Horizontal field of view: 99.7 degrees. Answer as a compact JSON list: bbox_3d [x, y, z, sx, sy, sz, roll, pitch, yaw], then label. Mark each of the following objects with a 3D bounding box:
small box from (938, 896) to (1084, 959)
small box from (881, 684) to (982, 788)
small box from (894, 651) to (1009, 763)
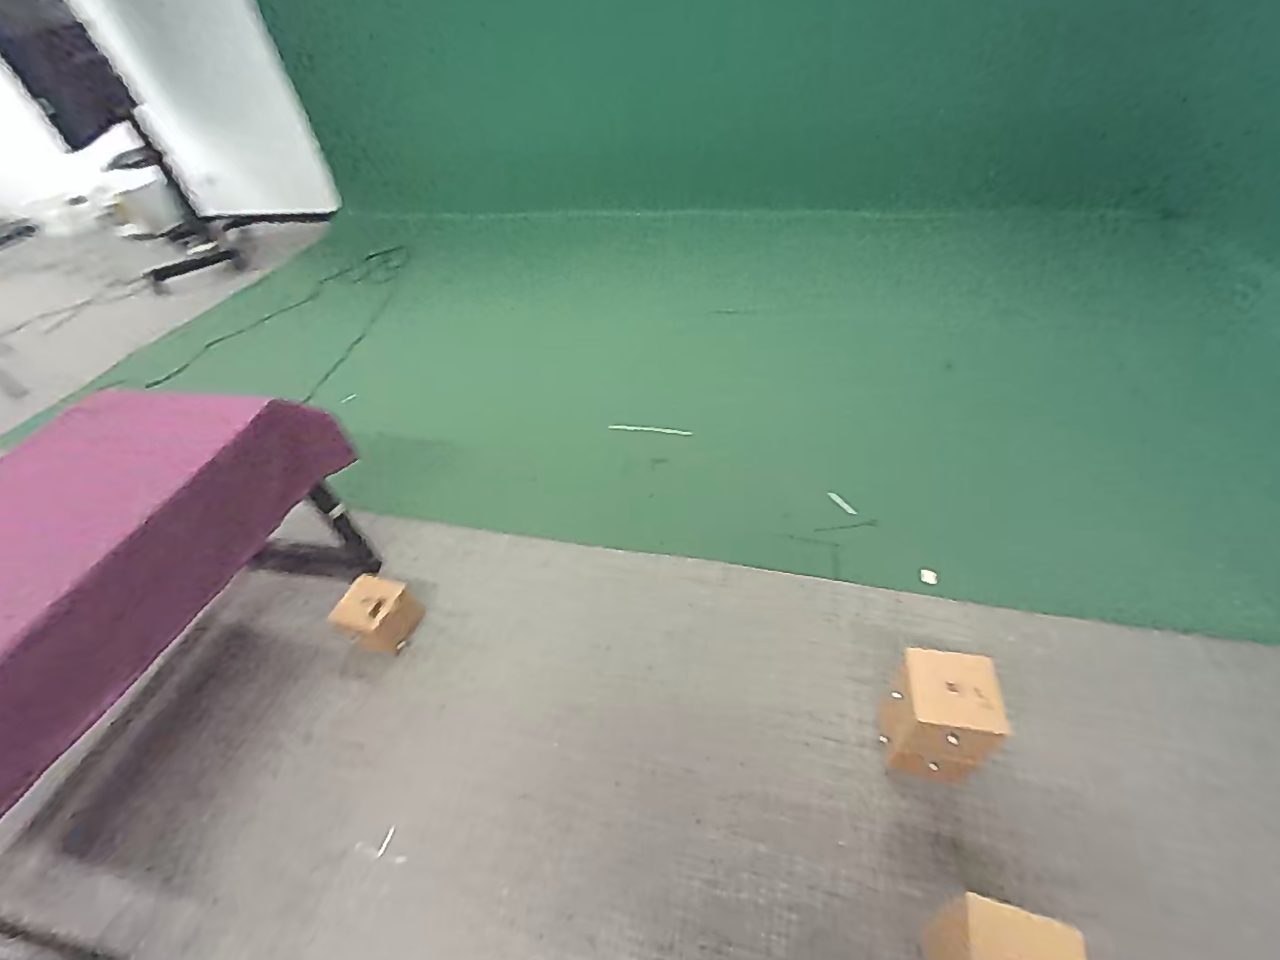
[{"bbox_3d":[0.600,0.823,0.880,0.168,0.176,0.179,10,47,17],"label":"small box"},{"bbox_3d":[0.691,0.620,1.306,0.179,0.176,0.168,6,47,13],"label":"small box"},{"bbox_3d":[0.671,0.502,1.192,0.179,0.176,0.168,5,47,13],"label":"small box"}]
